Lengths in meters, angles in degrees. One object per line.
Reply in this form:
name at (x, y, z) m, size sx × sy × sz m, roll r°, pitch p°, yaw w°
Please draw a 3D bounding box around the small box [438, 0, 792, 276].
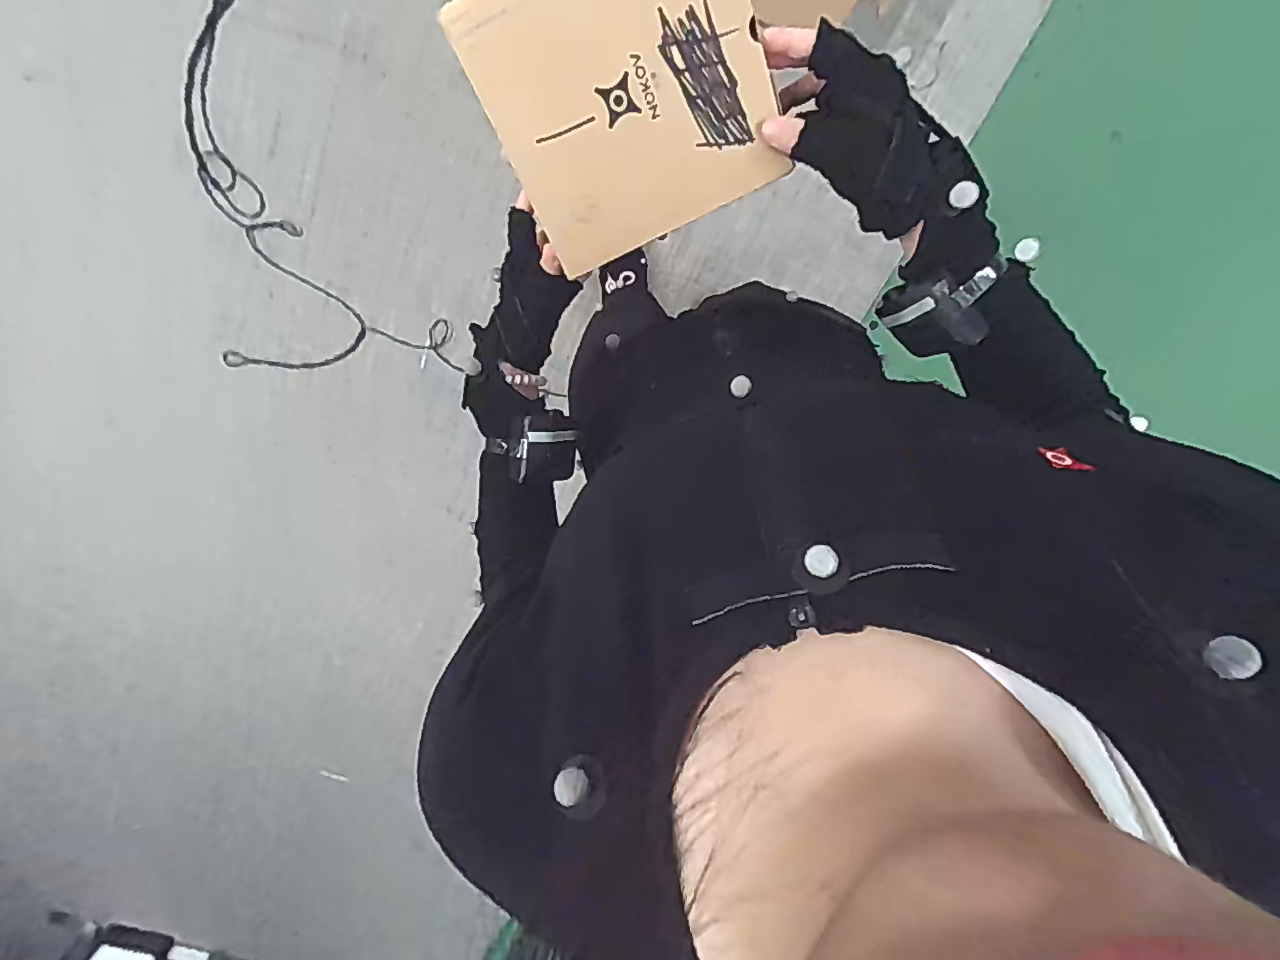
small box at (-0.014, -0.280, 0.398) m, size 0.179 × 0.176 × 0.168 m, roll -22°, pitch 122°, yaw 8°
